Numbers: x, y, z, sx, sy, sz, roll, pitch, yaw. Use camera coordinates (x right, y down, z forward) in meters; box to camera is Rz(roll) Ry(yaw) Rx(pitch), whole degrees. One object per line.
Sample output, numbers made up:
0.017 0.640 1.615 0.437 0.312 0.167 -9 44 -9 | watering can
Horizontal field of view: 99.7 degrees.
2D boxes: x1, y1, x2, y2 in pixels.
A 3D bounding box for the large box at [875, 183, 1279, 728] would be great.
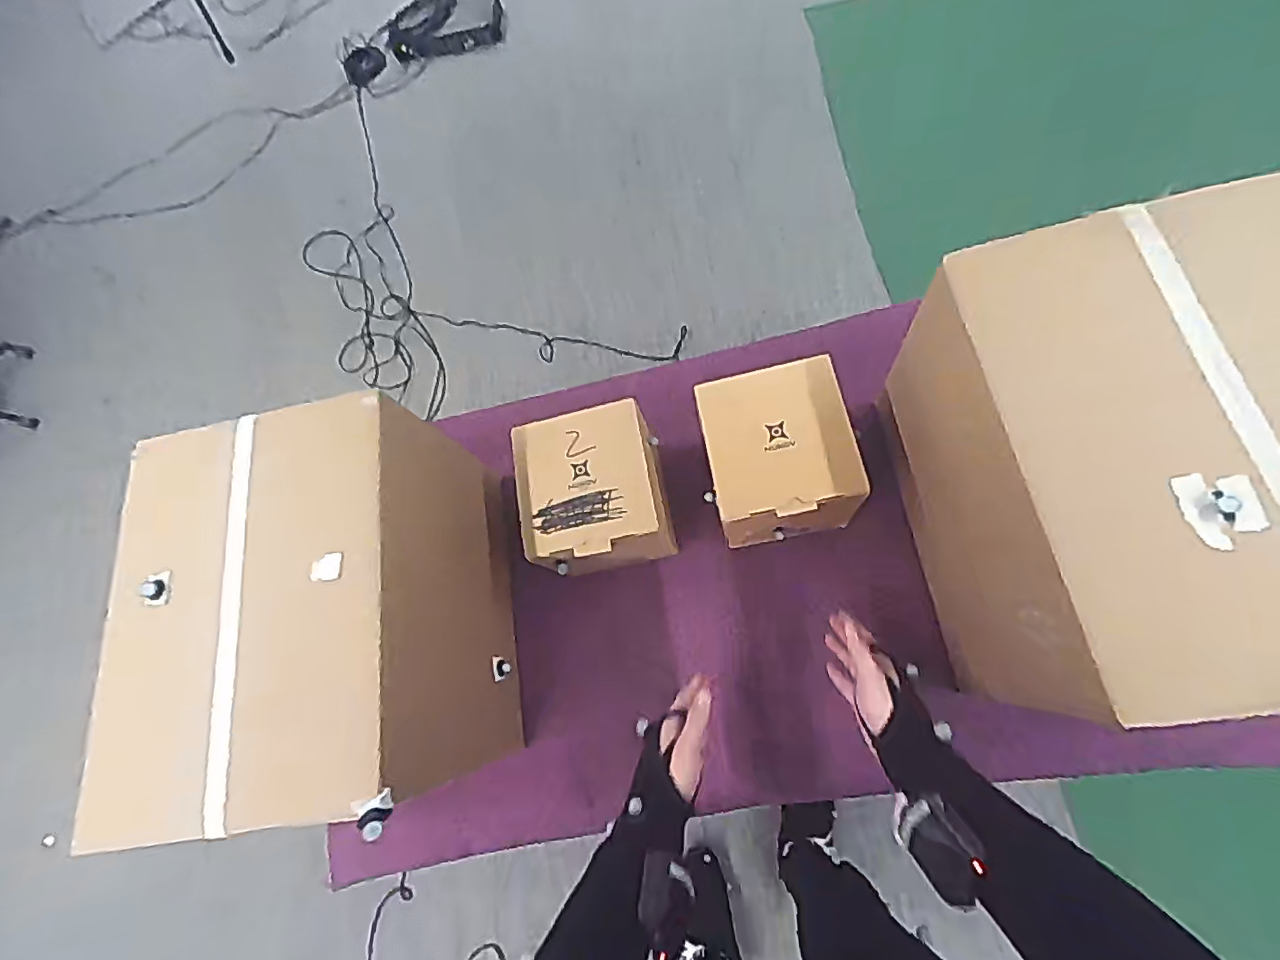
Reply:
0.482 -0.002 0.553 0.320 0.320 0.408 -11 72 9 | large box
